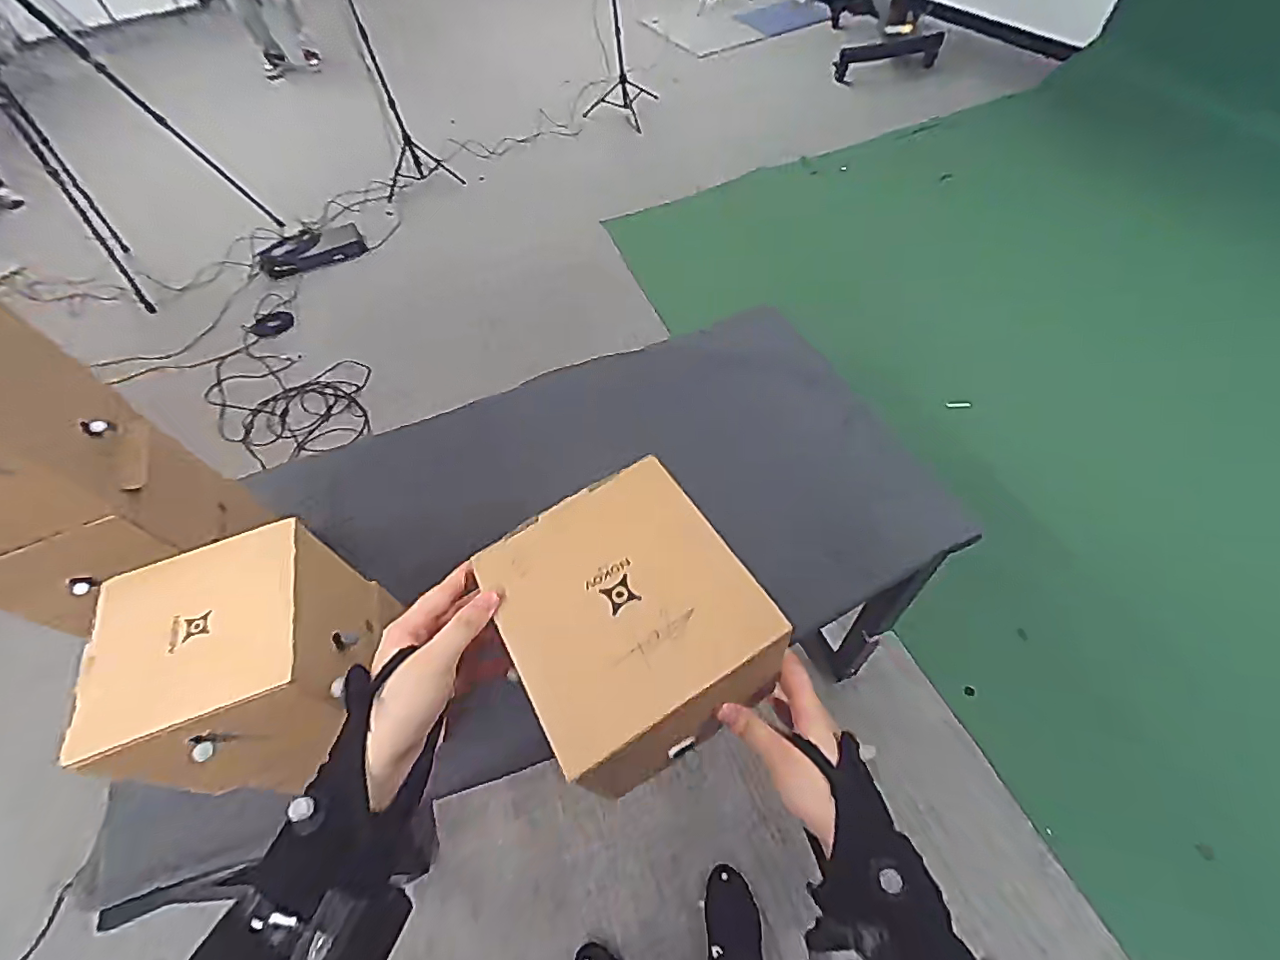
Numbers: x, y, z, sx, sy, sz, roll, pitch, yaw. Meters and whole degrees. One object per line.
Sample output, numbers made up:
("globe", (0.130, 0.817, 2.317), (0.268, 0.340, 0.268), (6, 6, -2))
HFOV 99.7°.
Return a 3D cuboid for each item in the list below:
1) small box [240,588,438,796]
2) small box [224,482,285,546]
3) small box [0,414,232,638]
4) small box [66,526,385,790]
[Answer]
("small box", (-0.362, 0.262, 0.661), (0.179, 0.176, 0.168), (-19, 55, -6))
("small box", (-0.613, 0.141, 0.781), (0.168, 0.176, 0.179), (-24, 56, -10))
("small box", (-0.622, 0.059, 0.638), (0.179, 0.176, 0.168), (-24, 57, -9))
("small box", (-0.367, 0.176, 0.522), (0.179, 0.176, 0.168), (-20, 55, -7))
